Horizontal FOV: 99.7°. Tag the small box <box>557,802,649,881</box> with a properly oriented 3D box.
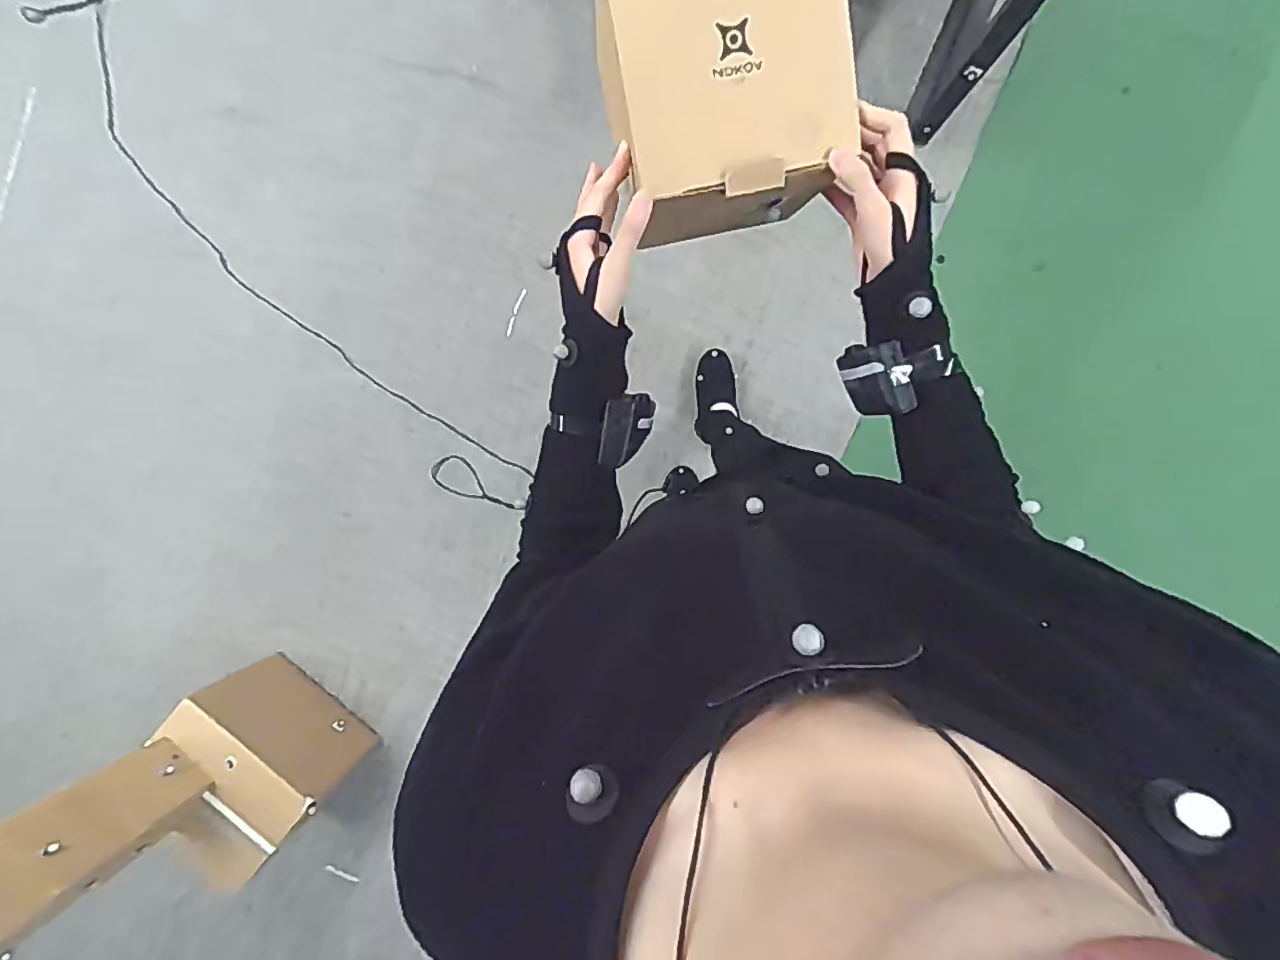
[{"bbox_3d":[-0.083,0.830,1.158,0.179,0.176,0.168,13,93,2],"label":"small box"}]

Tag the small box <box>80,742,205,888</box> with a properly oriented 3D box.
[{"bbox_3d":[-1.137,0.736,1.206,0.168,0.176,0.179,41,95,0],"label":"small box"}]

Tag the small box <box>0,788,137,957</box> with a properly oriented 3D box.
[{"bbox_3d":[-1.154,0.739,1.045,0.179,0.176,0.168,43,95,0],"label":"small box"}]
